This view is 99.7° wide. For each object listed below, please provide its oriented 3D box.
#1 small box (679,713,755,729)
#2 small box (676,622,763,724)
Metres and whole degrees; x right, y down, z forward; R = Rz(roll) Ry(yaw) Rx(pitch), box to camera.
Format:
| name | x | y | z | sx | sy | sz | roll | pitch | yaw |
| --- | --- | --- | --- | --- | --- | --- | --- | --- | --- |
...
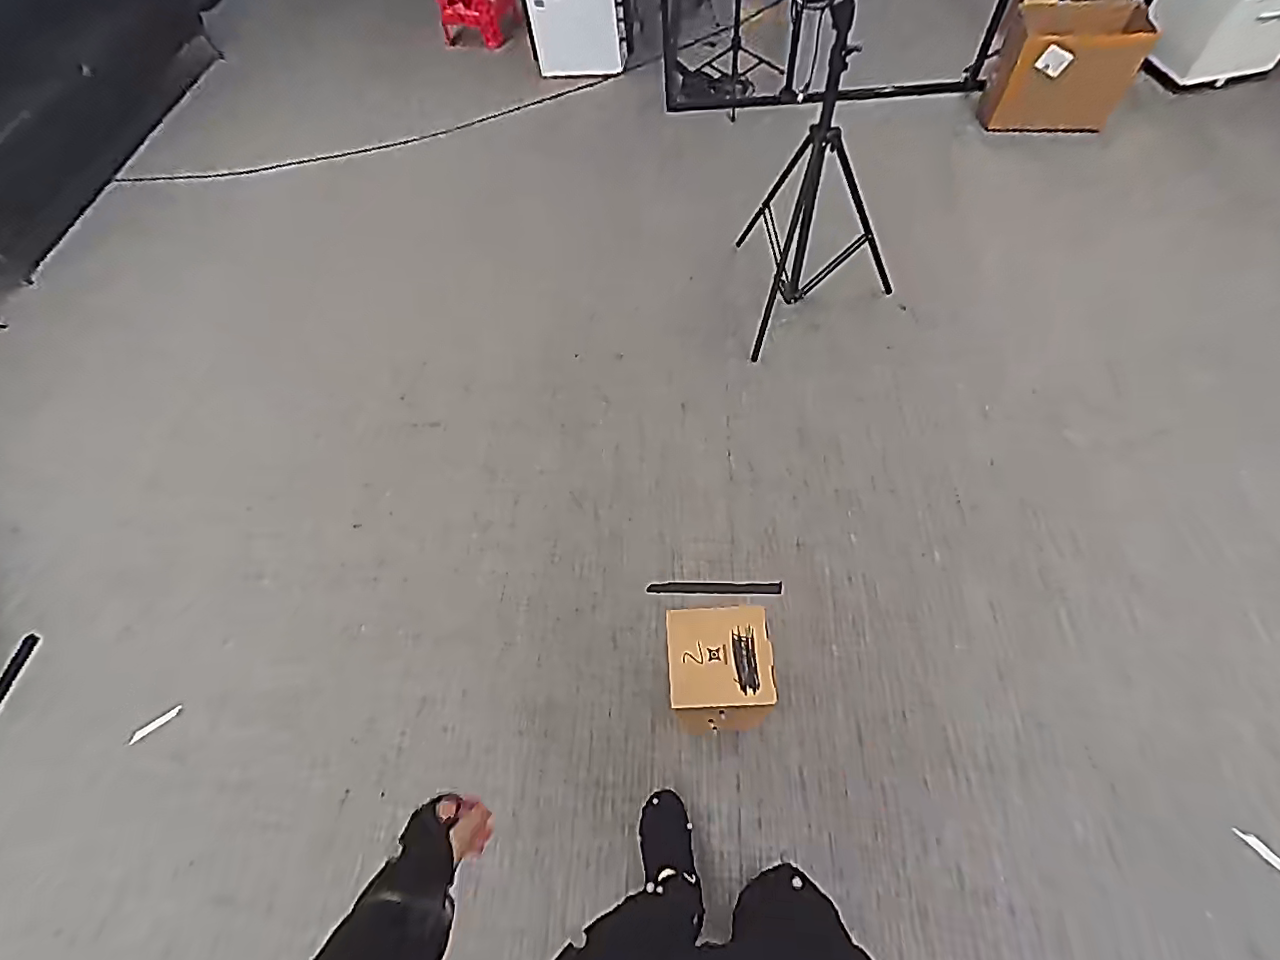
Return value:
| name | x | y | z | sx | sy | sz | roll | pitch | yaw |
| --- | --- | --- | --- | --- | --- | --- | --- | --- | --- |
| small box | 0.175 | 0.486 | 1.270 | 0.168 | 0.176 | 0.179 | -3 | 60 | 4 |
| small box | 0.159 | 0.405 | 1.129 | 0.168 | 0.176 | 0.179 | -2 | 61 | 5 |
